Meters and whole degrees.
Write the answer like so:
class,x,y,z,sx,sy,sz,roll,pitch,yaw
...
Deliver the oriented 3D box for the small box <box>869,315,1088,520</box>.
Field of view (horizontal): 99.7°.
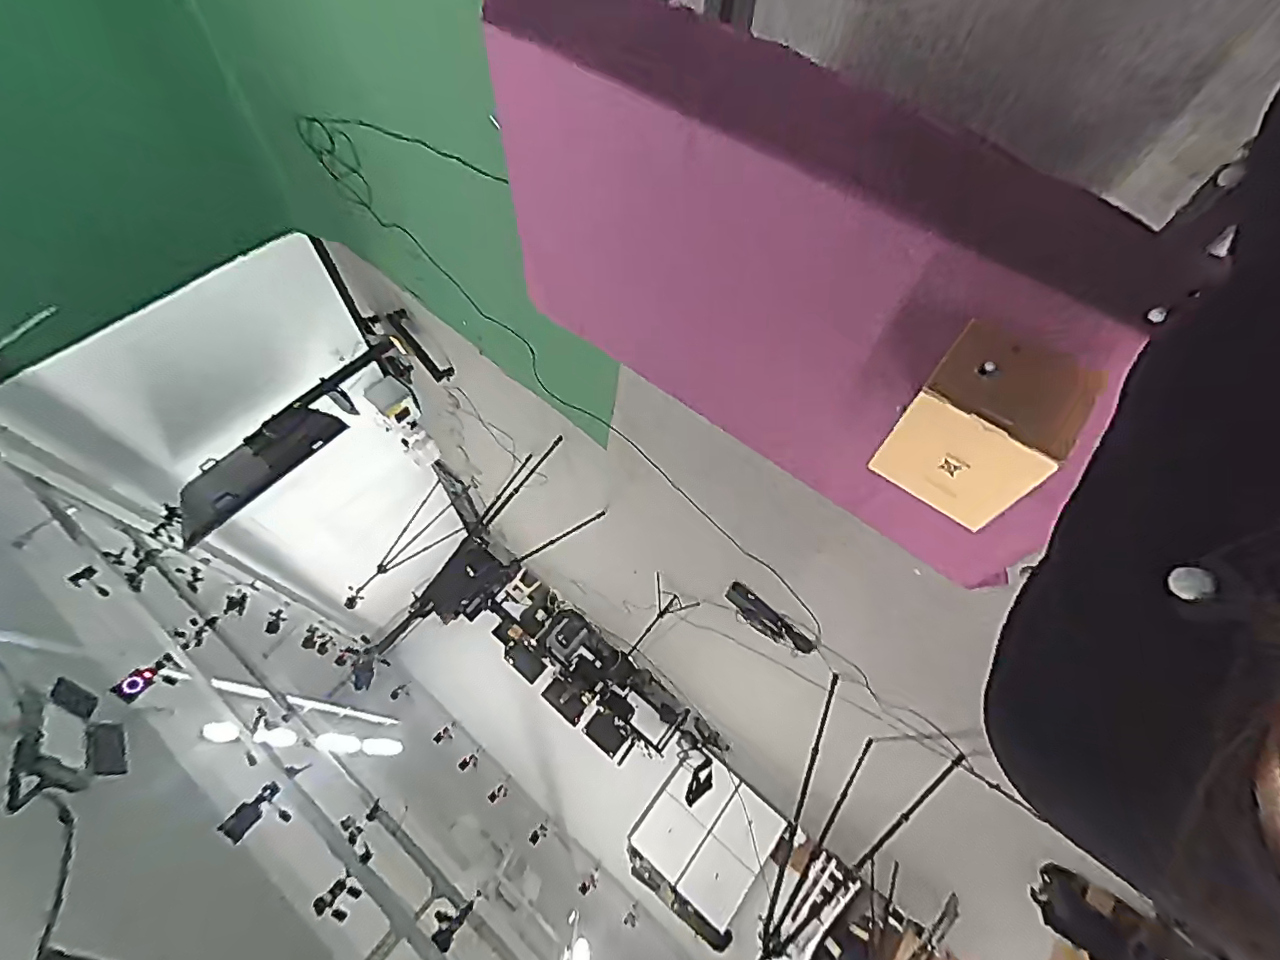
class,x,y,z,sx,sy,sz,roll,pitch,yaw
small box,0.448,-0.085,0.722,0.168,0.176,0.179,36,156,17
